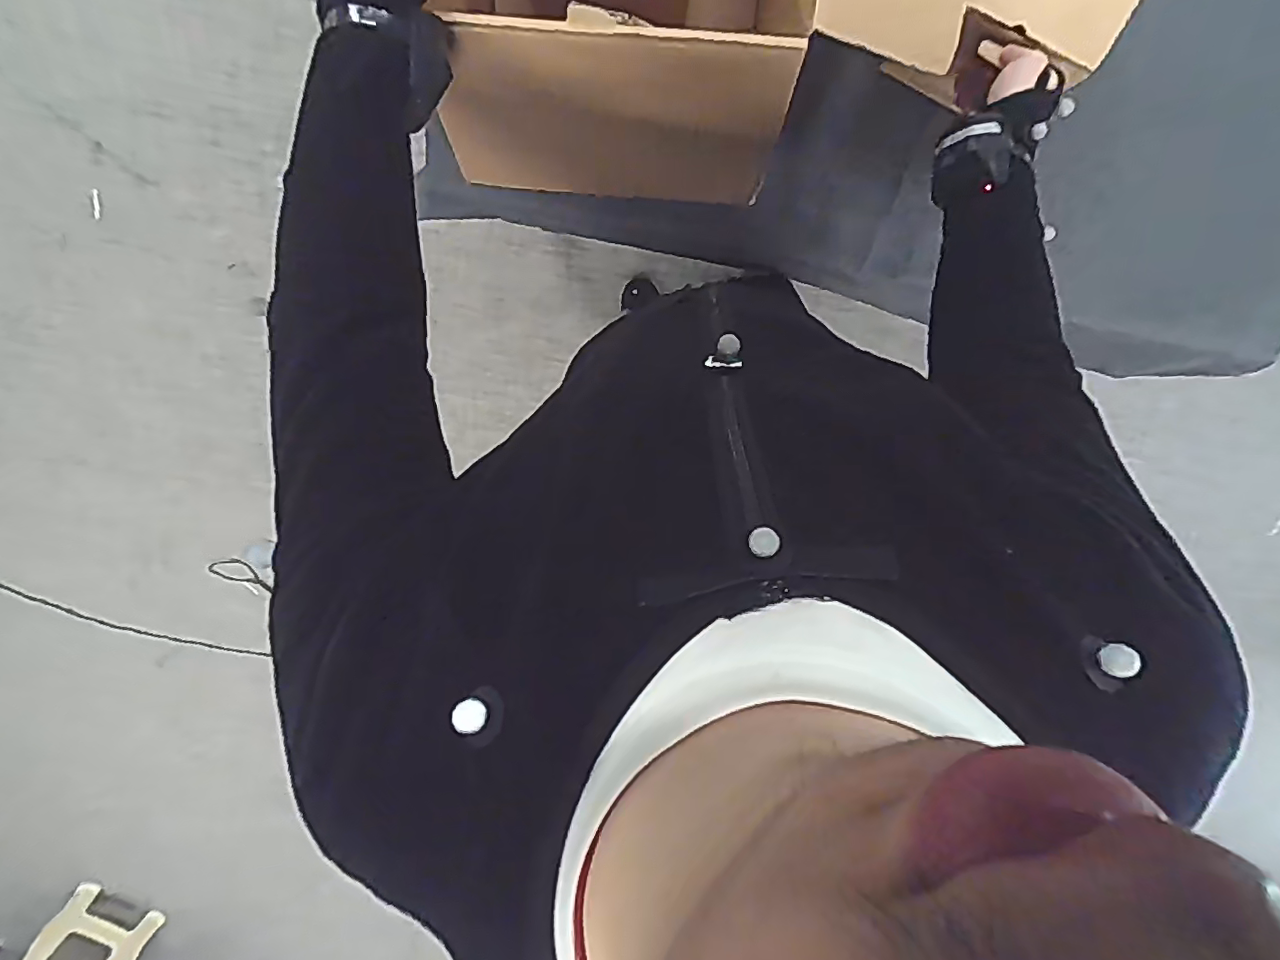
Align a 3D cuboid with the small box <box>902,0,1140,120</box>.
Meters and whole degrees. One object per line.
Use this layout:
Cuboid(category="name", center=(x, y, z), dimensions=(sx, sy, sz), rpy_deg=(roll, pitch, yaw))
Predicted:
Cuboid(category="small box", center=(0.401, -0.514, 0.555), dimensions=(0.168, 0.176, 0.179), rpy_deg=(28, 109, -4))
